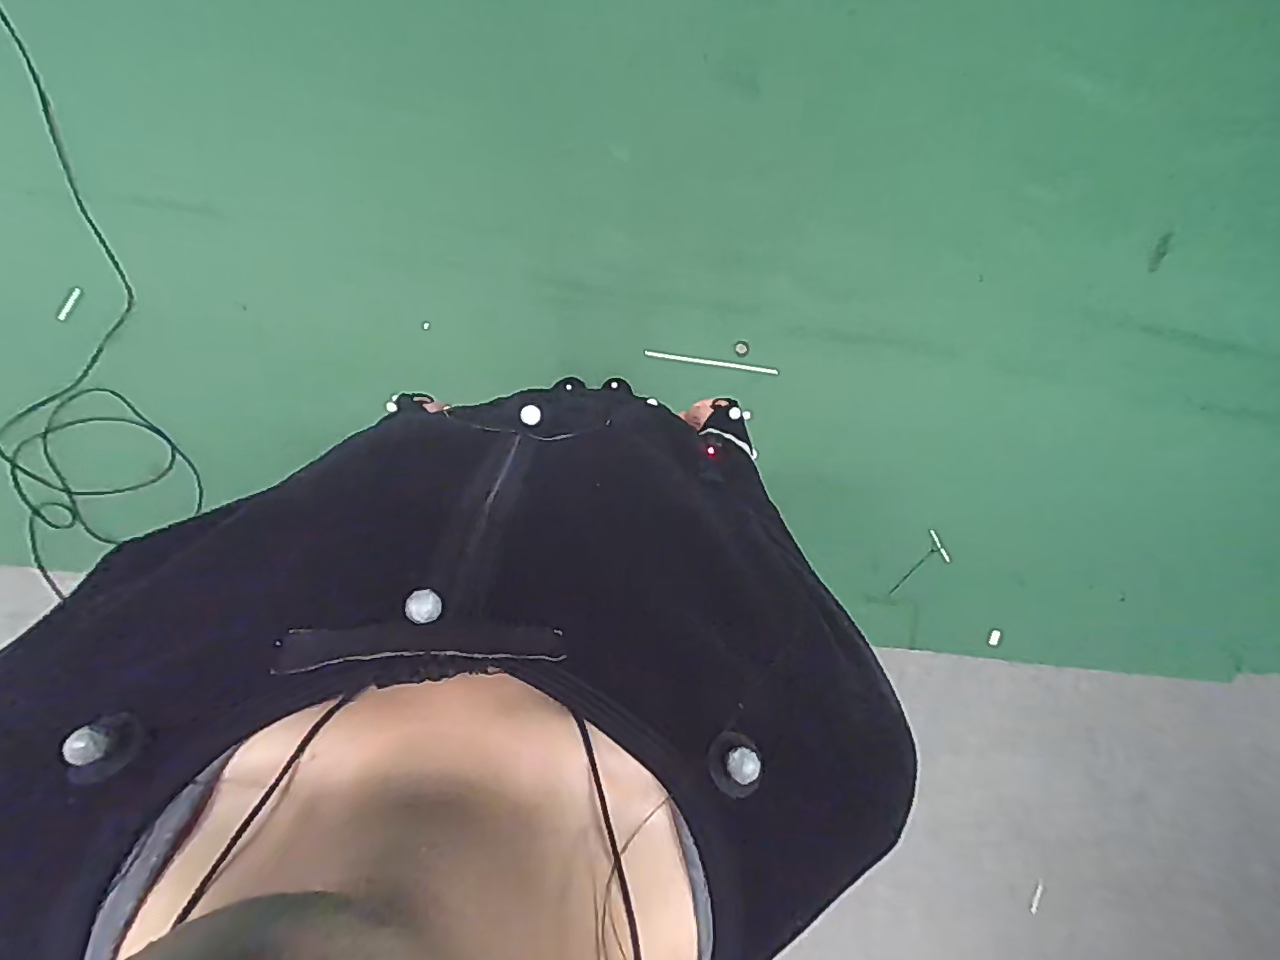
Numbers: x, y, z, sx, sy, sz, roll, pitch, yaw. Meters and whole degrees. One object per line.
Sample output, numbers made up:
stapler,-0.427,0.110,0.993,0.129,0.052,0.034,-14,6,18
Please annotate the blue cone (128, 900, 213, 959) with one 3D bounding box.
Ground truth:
blue cone,-1.384,1.390,1.453,0.193,0.380,0.192,-36,103,4
